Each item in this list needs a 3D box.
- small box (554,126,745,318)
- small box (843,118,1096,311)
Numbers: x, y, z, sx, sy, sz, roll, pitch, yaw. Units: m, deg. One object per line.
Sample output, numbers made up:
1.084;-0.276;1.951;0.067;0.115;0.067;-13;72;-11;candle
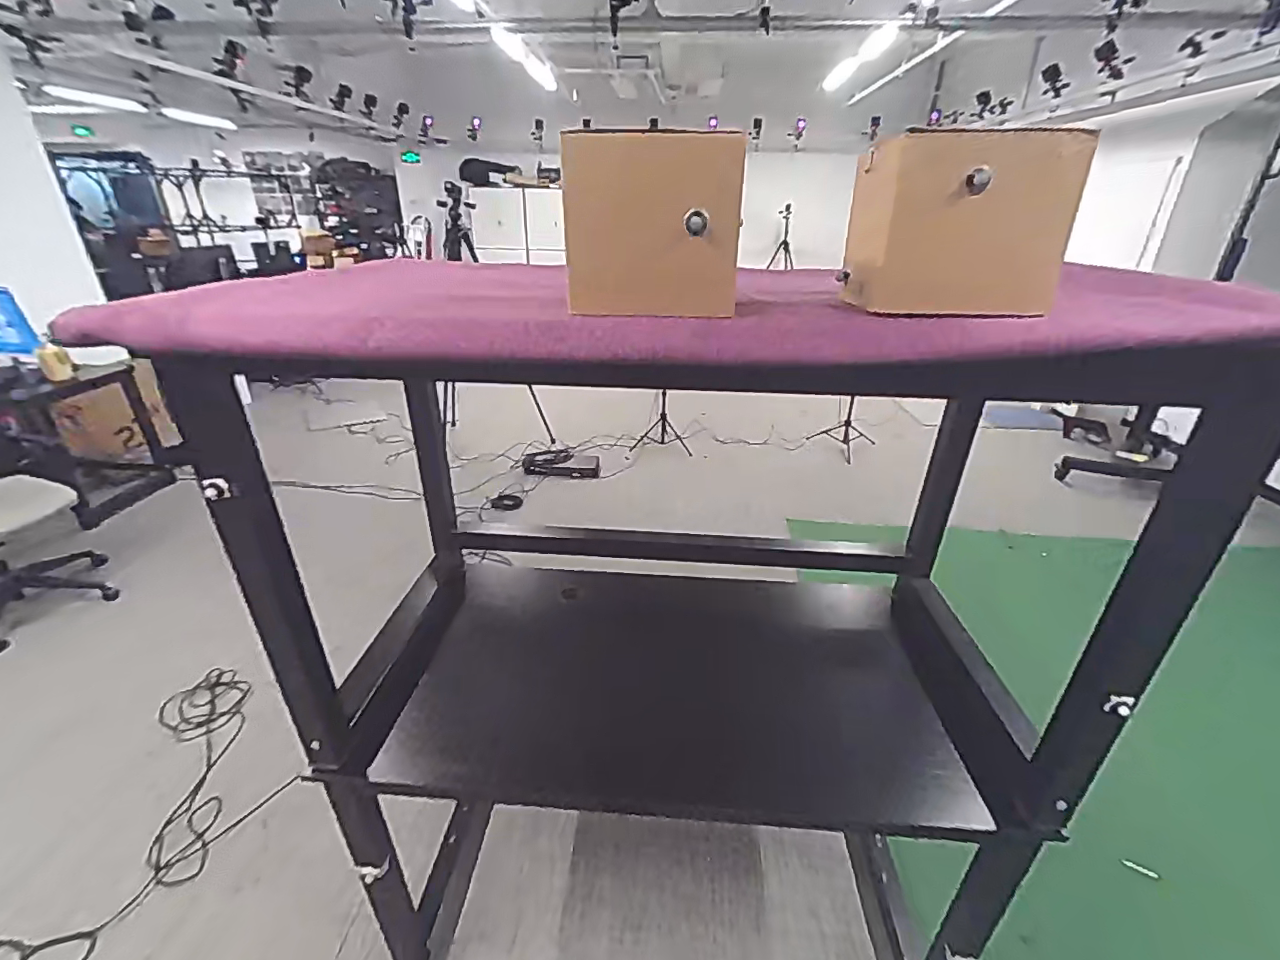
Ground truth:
0.011;-0.278;0.593;0.179;0.176;0.168;1;26;2;small box
0.335;-0.282;0.597;0.179;0.176;0.168;3;25;5;small box
